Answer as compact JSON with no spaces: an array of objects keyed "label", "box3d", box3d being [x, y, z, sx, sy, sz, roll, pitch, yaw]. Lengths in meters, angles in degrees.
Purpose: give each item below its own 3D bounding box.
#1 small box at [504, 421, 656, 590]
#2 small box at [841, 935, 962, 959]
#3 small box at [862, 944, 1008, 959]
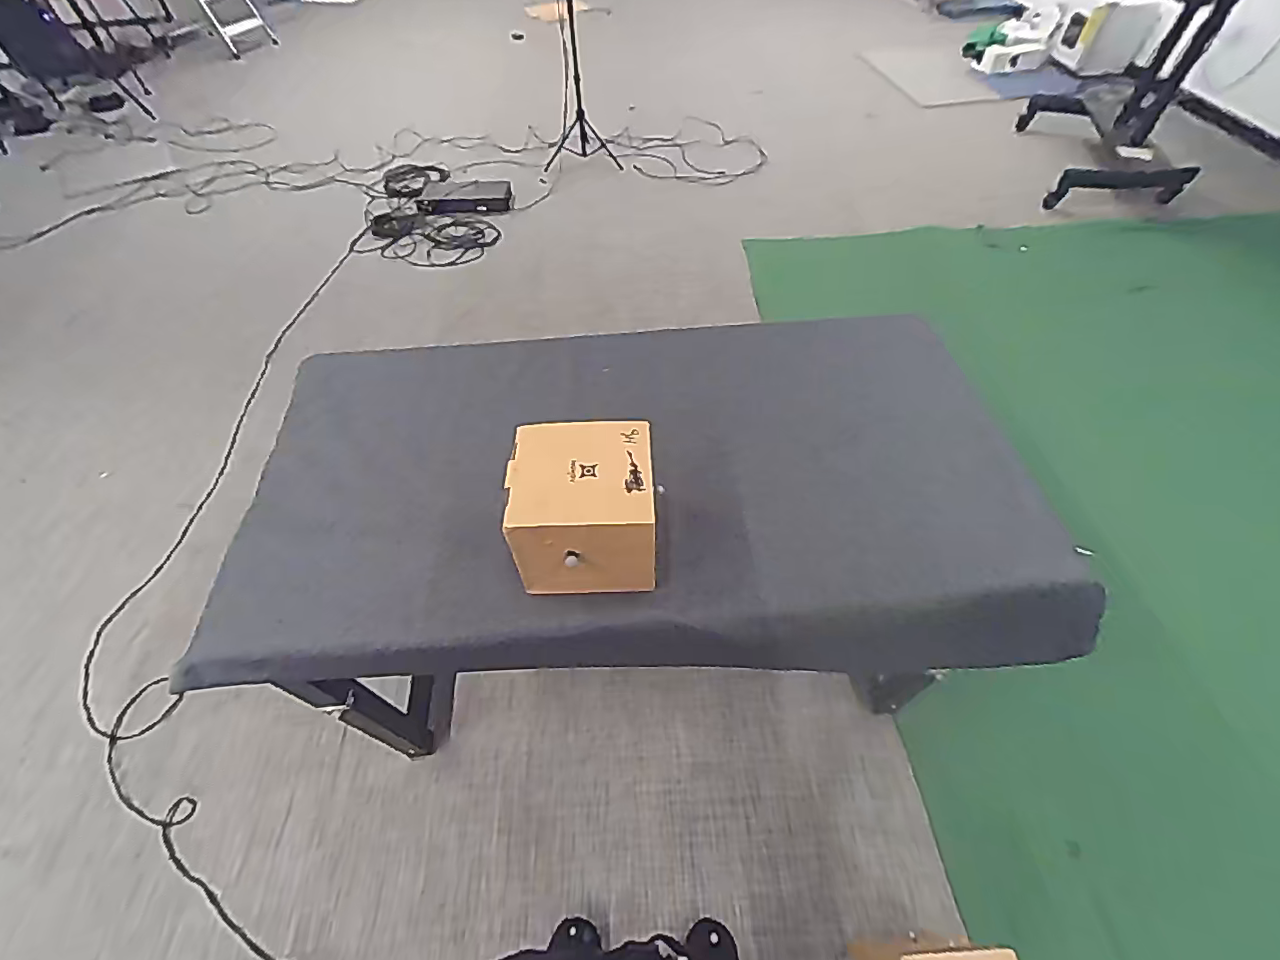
[{"label":"small box","box3d":[-0.069,0.038,0.729,0.179,0.176,0.168,-1,52,0]},{"label":"small box","box3d":[0.484,0.926,0.960,0.179,0.176,0.168,-5,52,-1]},{"label":"small box","box3d":[0.469,0.827,0.829,0.179,0.176,0.168,-3,51,0]}]
